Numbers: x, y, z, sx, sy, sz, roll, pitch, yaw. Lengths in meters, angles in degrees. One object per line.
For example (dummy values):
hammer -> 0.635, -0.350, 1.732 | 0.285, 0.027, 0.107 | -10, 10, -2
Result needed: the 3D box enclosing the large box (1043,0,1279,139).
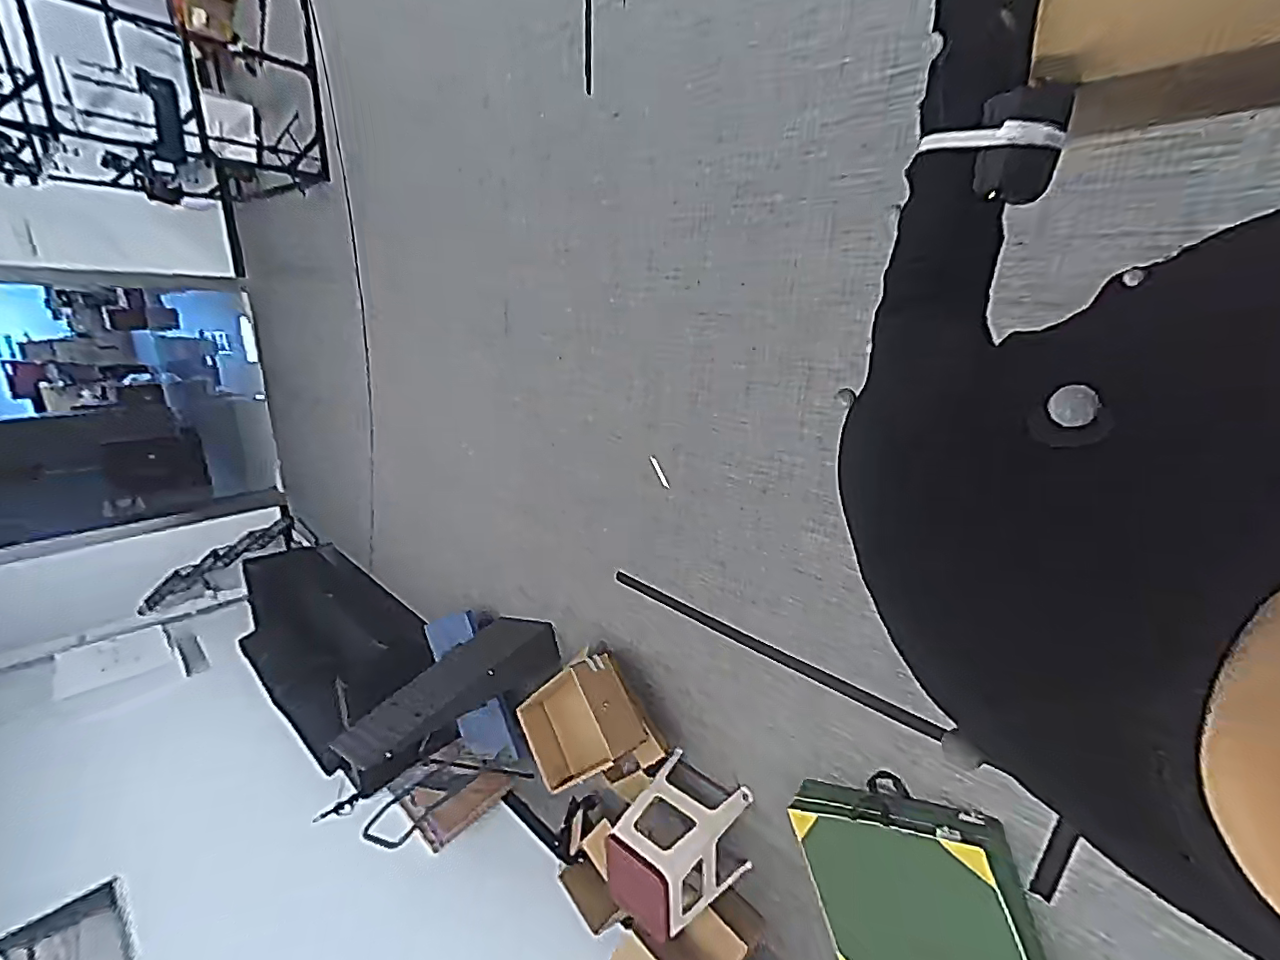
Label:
large box -> 0.507, -0.428, 0.307 | 0.408, 0.320, 0.320 | 12, 119, 37
